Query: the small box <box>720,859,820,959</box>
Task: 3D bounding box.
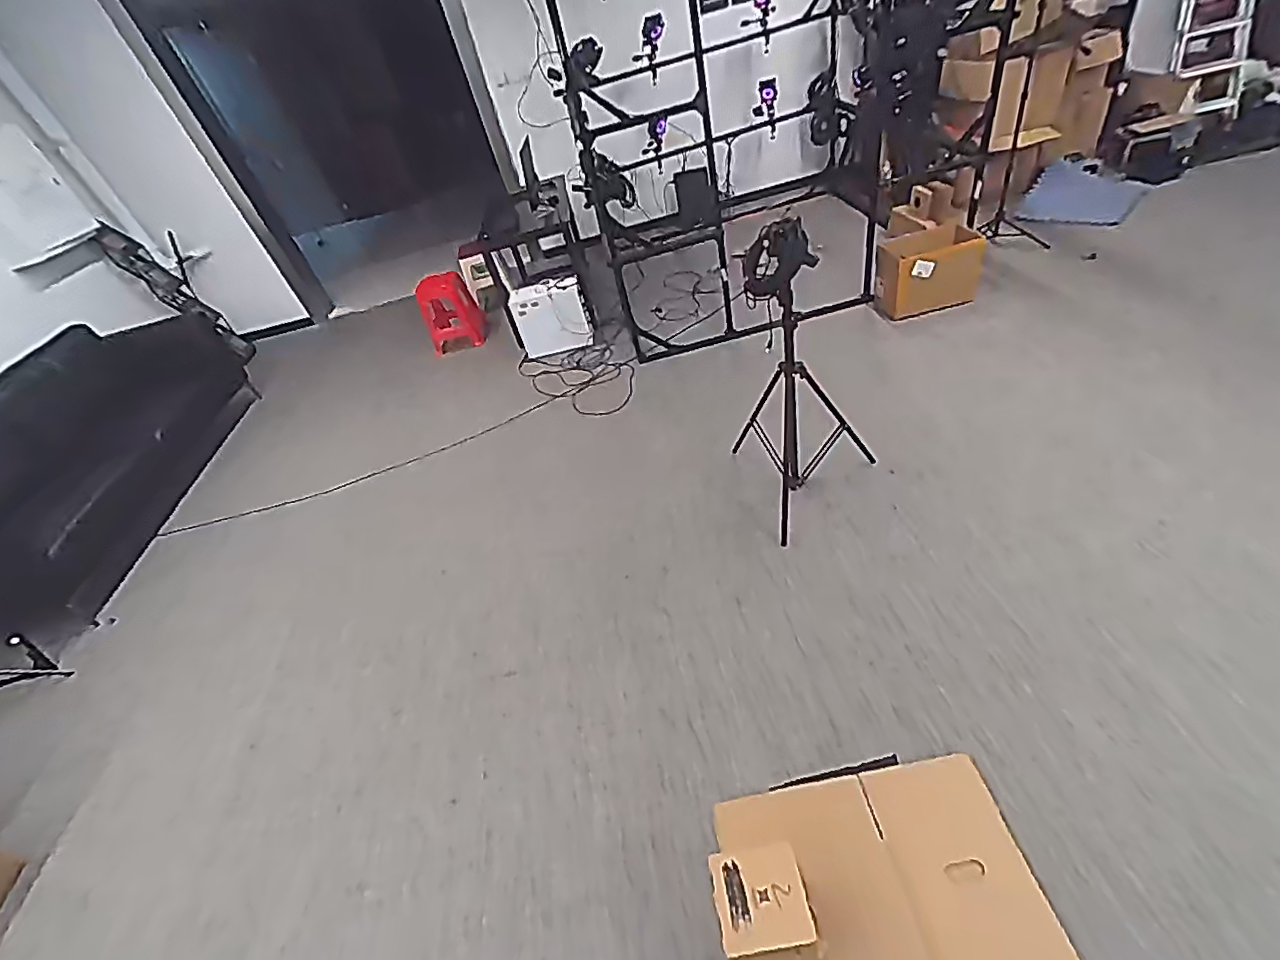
[{"bbox_3d":[0.291,0.980,1.214,0.179,0.176,0.168,-15,41,4],"label":"small box"}]
